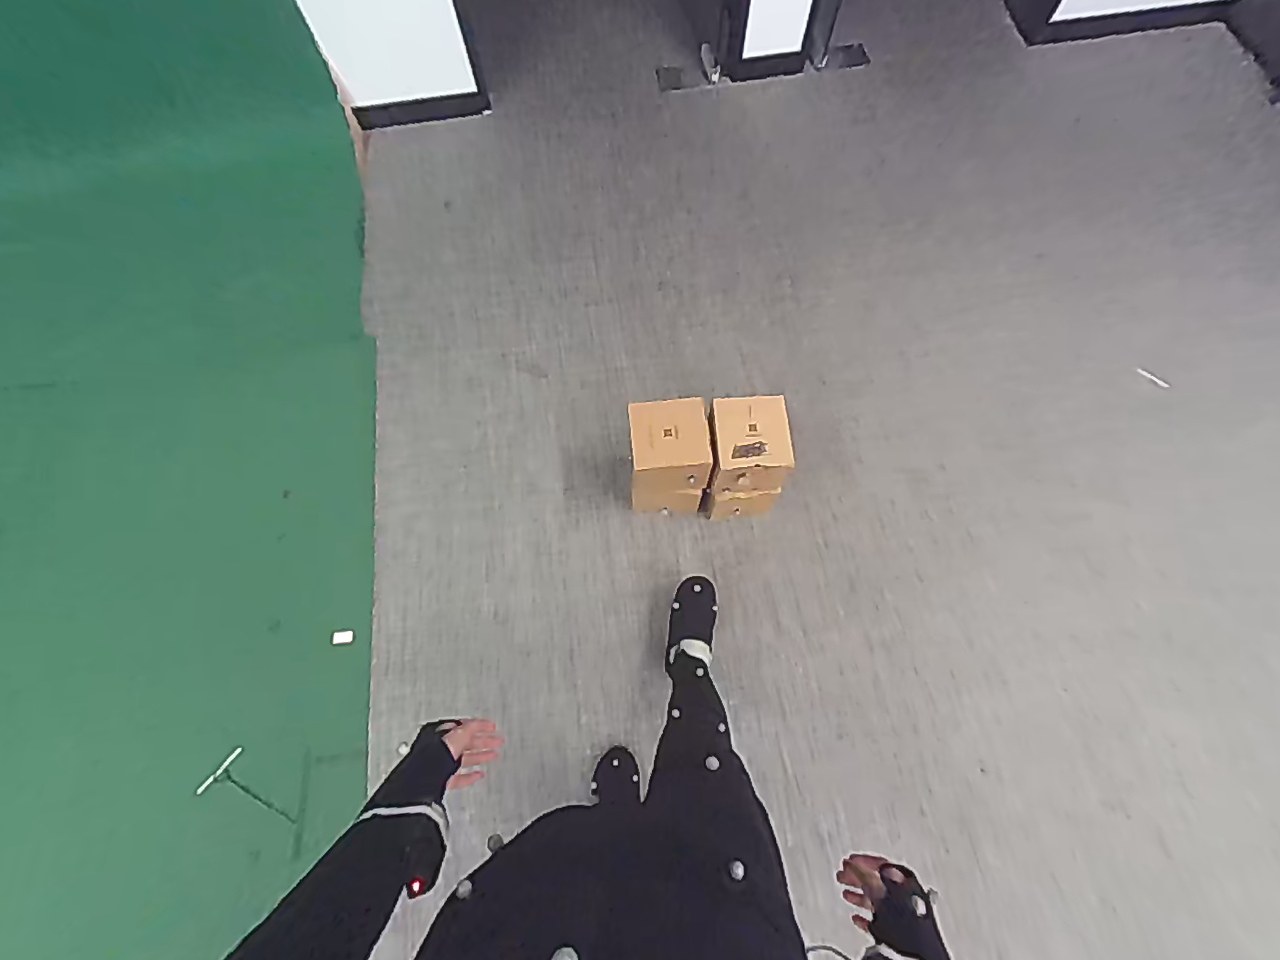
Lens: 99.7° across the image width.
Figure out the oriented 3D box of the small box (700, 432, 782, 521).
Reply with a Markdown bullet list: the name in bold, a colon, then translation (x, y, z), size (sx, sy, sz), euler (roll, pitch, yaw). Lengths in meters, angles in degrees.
- **small box**: translation (0.257, -0.006, 1.421), size (0.168, 0.176, 0.179), euler (-8, 71, -2)
